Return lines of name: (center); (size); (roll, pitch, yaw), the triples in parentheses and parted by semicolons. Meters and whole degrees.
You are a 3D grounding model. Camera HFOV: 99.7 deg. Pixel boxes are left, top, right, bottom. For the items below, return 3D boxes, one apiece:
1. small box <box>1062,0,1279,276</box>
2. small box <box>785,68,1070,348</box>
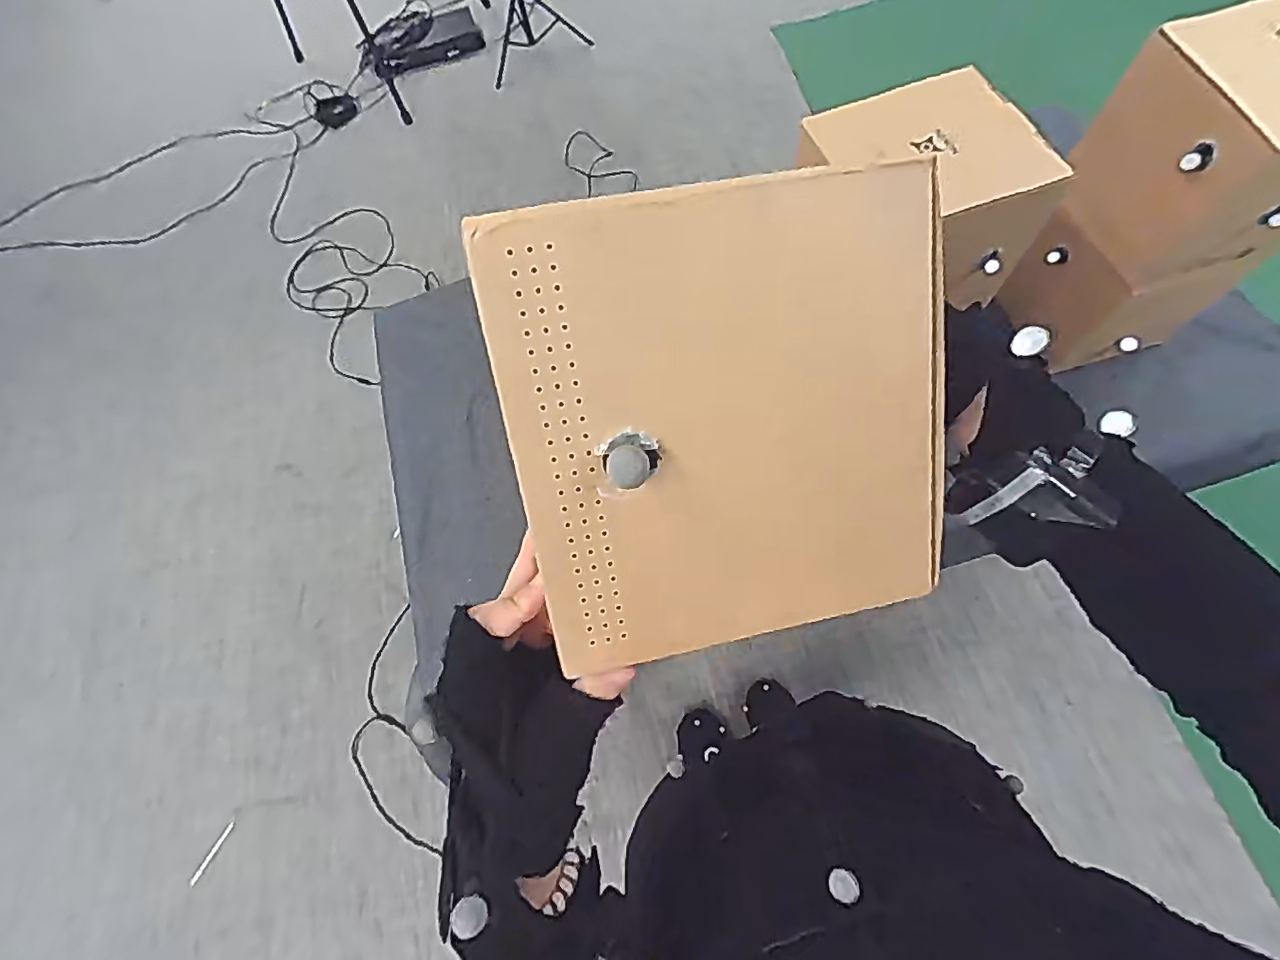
small box: (0.583, -0.331, 0.544); (0.168, 0.176, 0.179); (-14, 67, 1)
small box: (0.269, -0.267, 0.559); (0.179, 0.176, 0.168); (-18, 66, 0)
